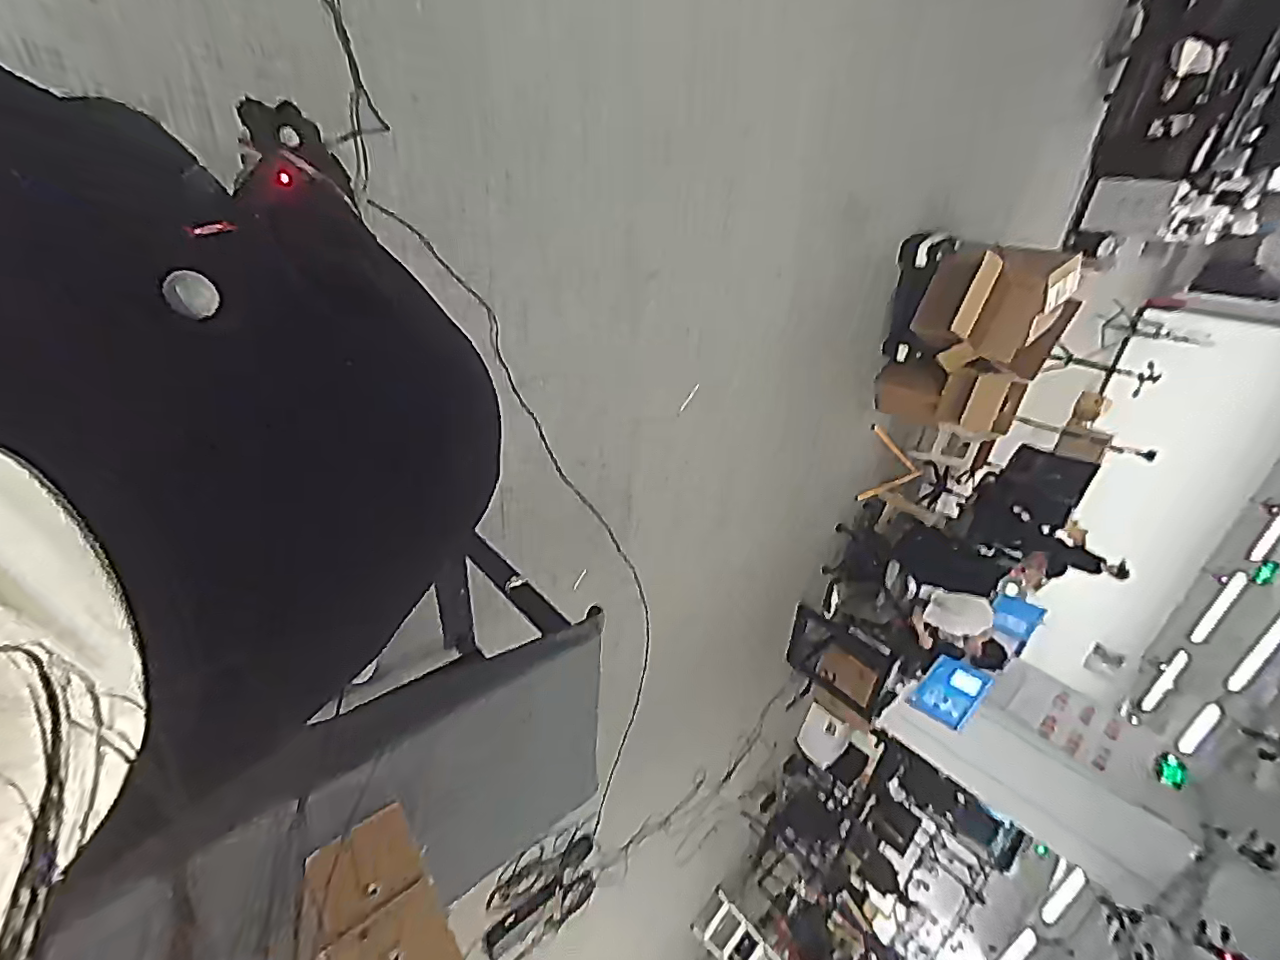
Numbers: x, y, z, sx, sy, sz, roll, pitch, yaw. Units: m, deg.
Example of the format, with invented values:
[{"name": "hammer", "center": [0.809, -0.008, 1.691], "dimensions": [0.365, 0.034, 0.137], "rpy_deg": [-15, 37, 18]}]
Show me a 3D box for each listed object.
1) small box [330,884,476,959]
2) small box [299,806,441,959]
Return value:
[{"name": "small box", "center": [-0.359, 0.786, 0.844], "dimensions": [0.168, 0.176, 0.179], "rpy_deg": [-21, 126, -37]}, {"name": "small box", "center": [-0.467, 0.728, 0.951], "dimensions": [0.179, 0.176, 0.168], "rpy_deg": [-20, 126, -36]}]
